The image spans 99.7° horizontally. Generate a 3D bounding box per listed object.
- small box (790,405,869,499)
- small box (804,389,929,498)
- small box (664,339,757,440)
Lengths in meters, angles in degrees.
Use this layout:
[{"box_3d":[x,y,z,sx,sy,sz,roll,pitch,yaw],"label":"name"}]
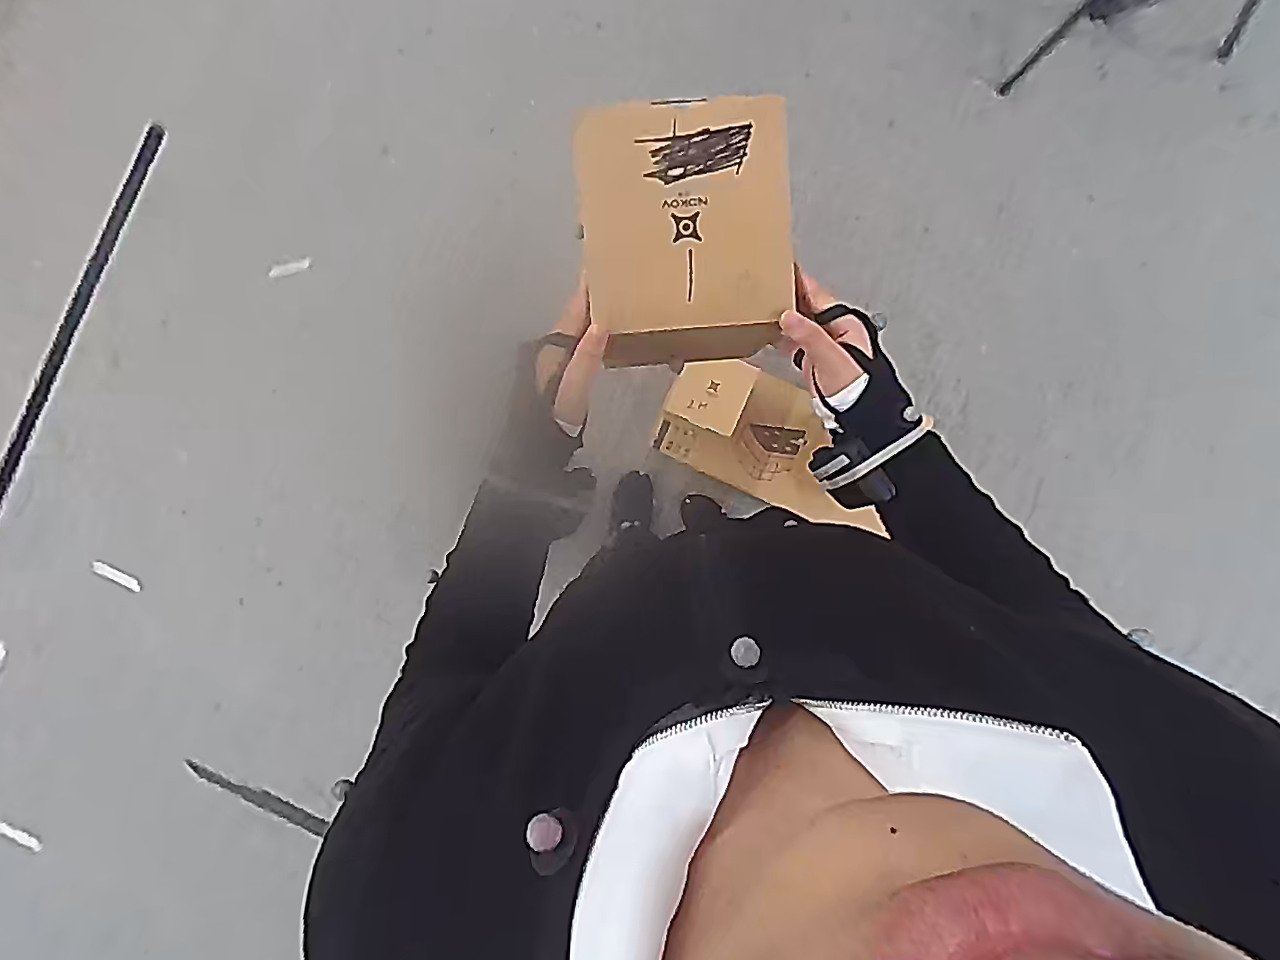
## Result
[{"box_3d":[0.478,-0.067,1.305,0.168,0.176,0.179,23,91,0],"label":"small box"},{"box_3d":[0.467,-0.071,1.143,0.168,0.176,0.179,20,91,2],"label":"small box"},{"box_3d":[0.161,-0.210,1.309,0.168,0.176,0.179,24,91,1],"label":"small box"}]
